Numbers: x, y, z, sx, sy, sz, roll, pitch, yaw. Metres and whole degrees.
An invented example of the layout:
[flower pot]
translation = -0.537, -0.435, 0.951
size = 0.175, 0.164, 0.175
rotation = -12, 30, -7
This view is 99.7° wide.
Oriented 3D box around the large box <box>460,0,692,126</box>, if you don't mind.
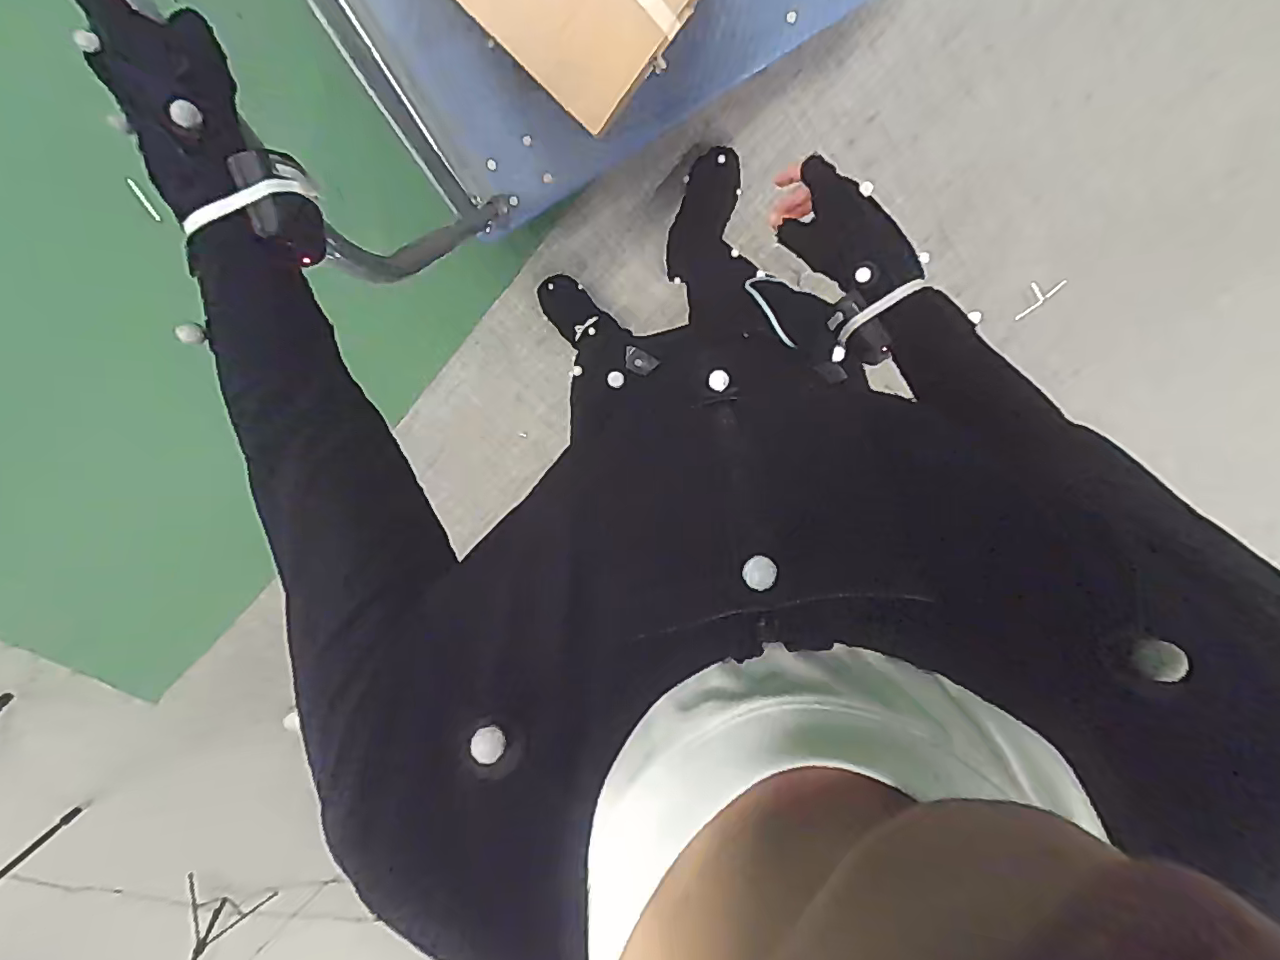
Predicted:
[large box]
translation = -0.117, -0.774, 0.745
size = 0.408, 0.320, 0.320
rotation = 36, 114, -21
